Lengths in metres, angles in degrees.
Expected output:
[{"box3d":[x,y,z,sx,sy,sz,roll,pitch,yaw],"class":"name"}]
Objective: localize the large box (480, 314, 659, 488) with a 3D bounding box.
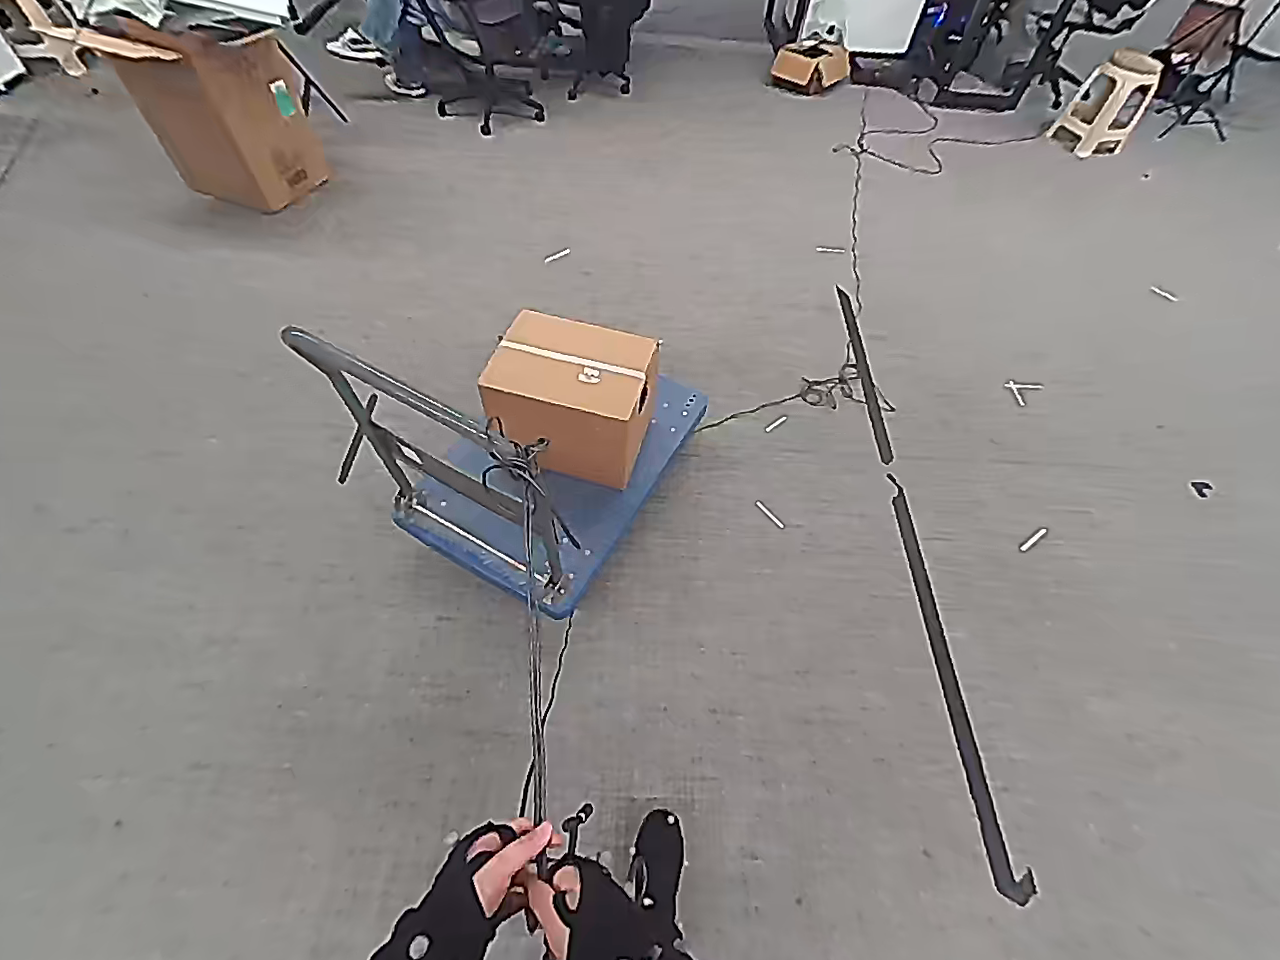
[{"box3d":[-0.188,-0.221,1.545,0.408,0.320,0.320,15,56,5],"class":"large box"}]
